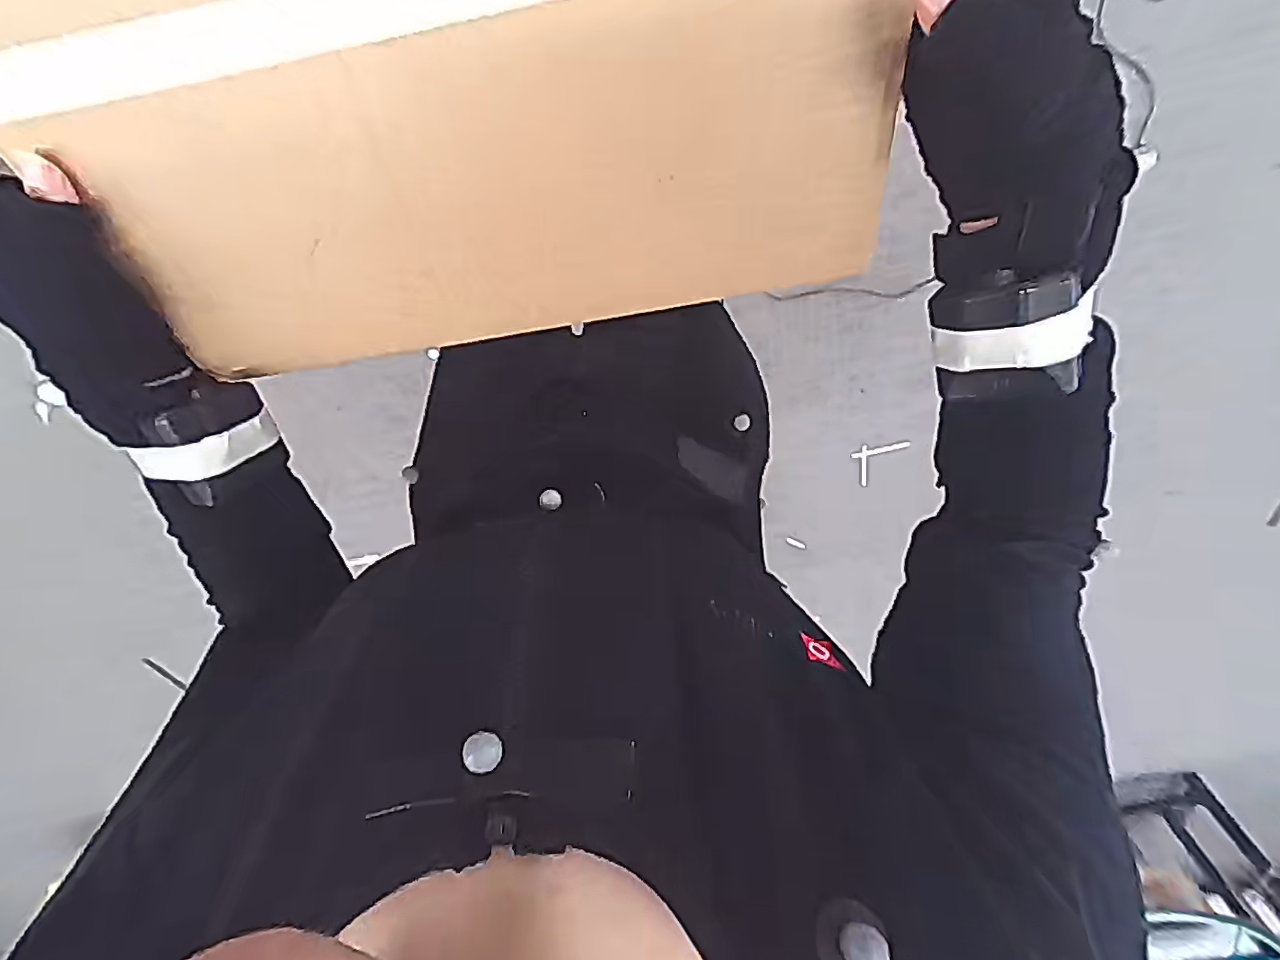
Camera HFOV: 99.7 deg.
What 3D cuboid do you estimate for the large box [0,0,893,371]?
[{"bbox_3d":[-0.101,-0.309,0.314,0.408,0.320,0.320,-8,138,5],"label":"large box"}]
